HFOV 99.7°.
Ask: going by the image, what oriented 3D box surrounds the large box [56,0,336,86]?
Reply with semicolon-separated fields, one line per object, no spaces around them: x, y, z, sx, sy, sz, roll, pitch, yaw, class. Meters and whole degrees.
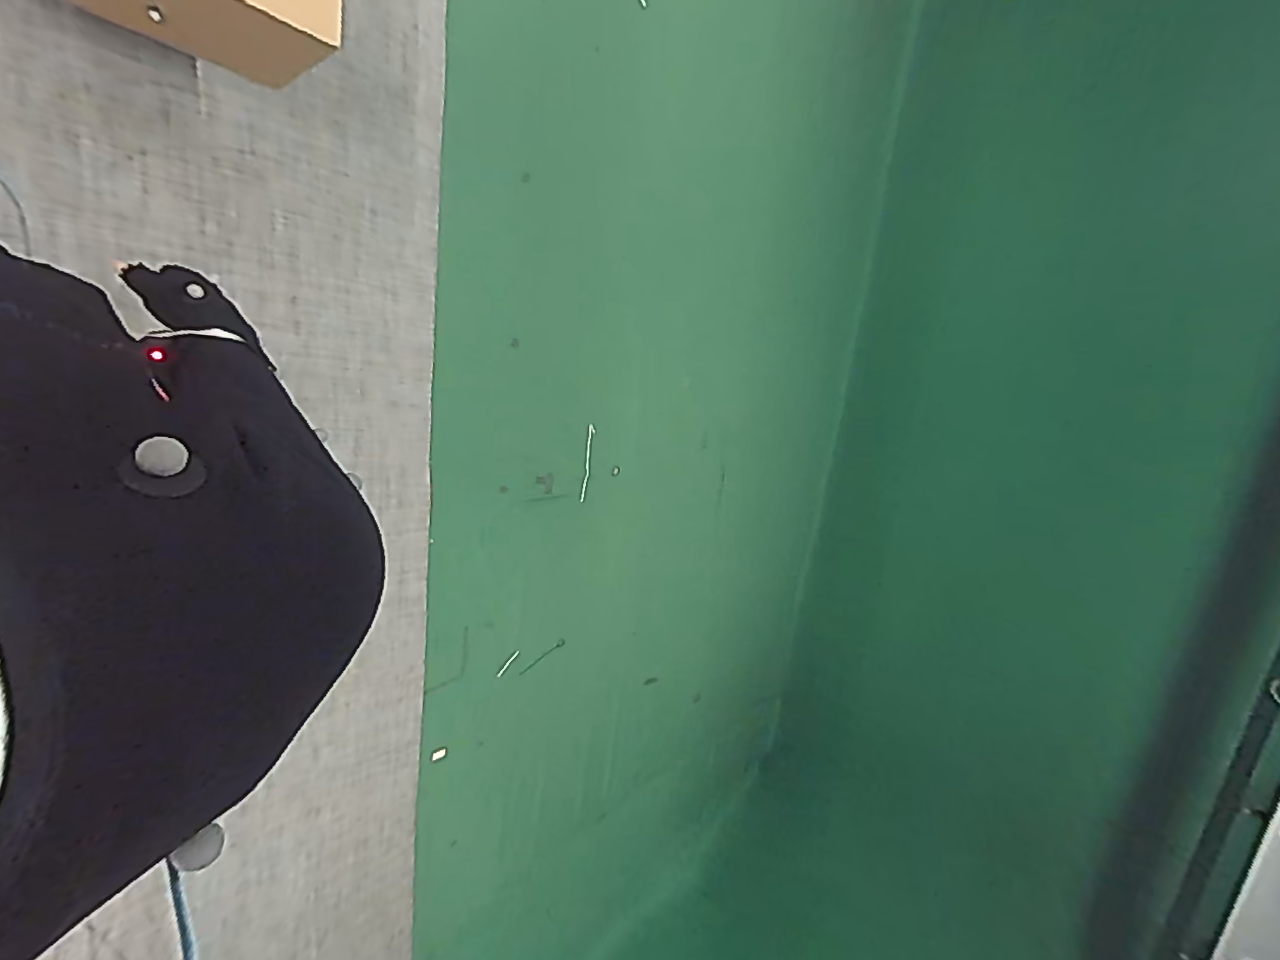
-0.709;-0.857;0.783;0.408;0.320;0.320;-5;107;-49;large box
